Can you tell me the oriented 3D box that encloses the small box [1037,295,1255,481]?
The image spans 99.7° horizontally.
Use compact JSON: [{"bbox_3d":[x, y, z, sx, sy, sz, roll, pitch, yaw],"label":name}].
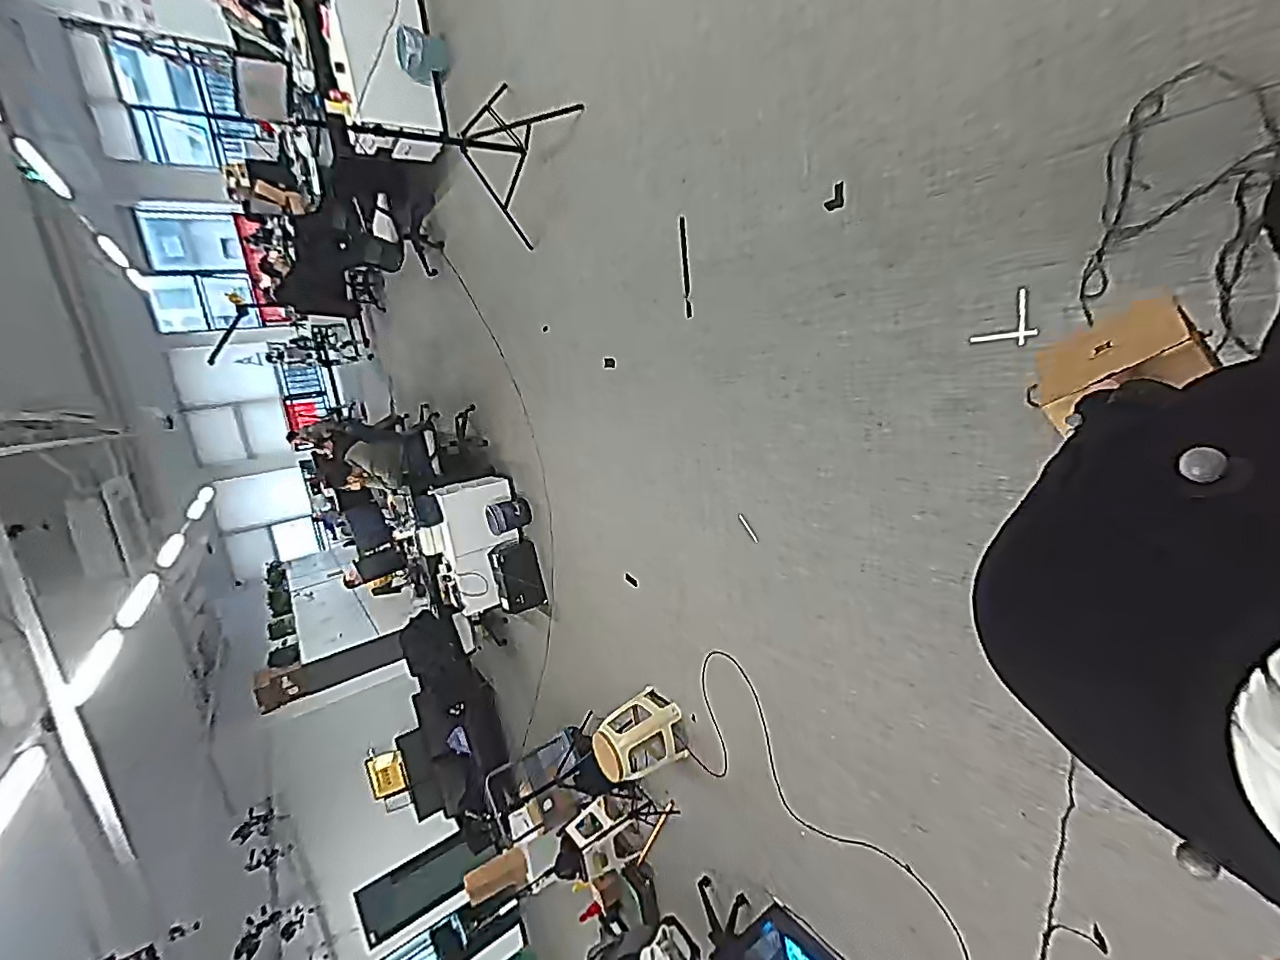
[{"bbox_3d":[0.695,-0.118,0.758,0.176,0.179,0.168,48,138,-6],"label":"small box"}]
